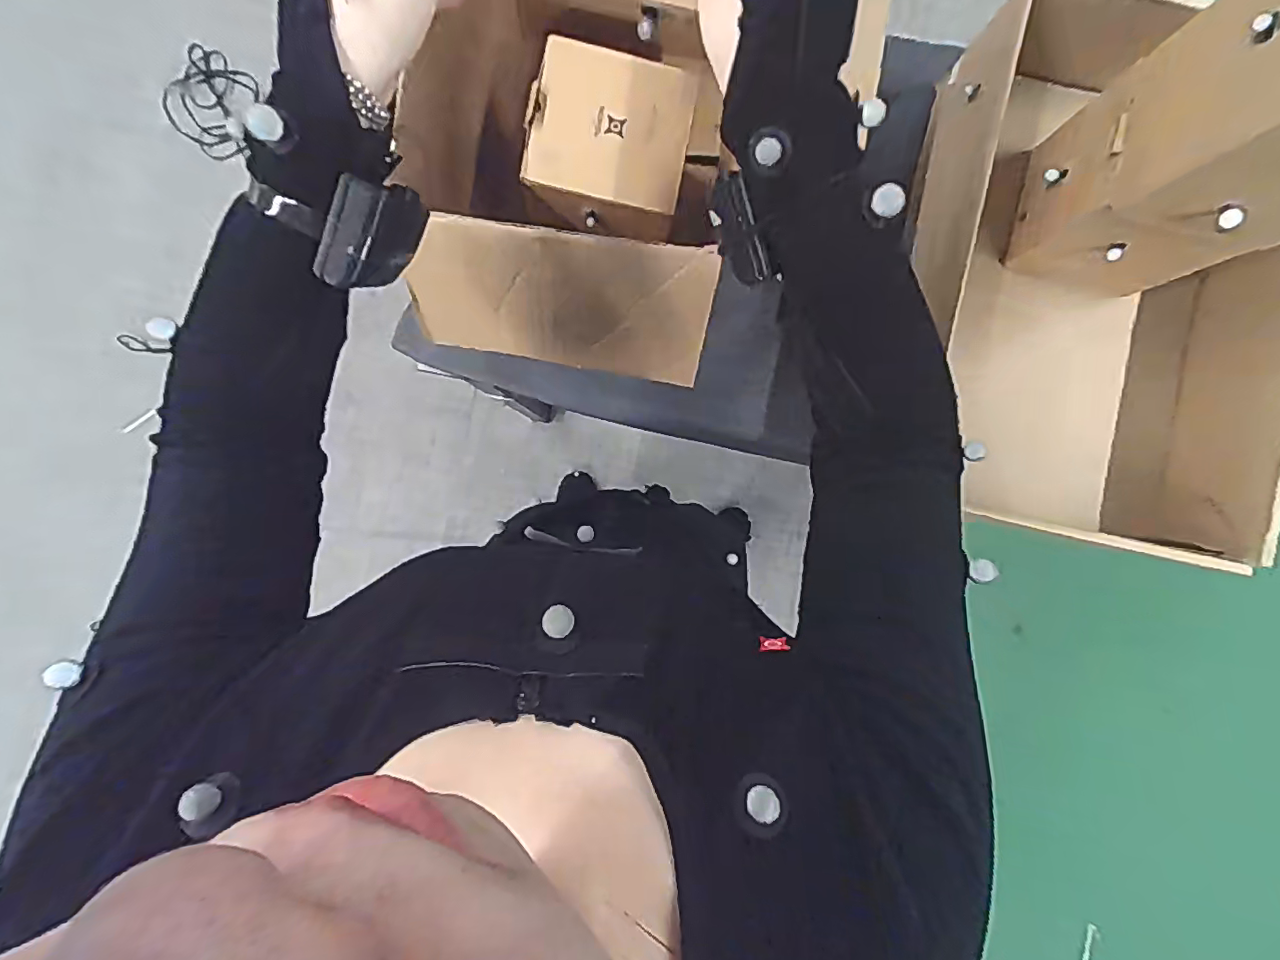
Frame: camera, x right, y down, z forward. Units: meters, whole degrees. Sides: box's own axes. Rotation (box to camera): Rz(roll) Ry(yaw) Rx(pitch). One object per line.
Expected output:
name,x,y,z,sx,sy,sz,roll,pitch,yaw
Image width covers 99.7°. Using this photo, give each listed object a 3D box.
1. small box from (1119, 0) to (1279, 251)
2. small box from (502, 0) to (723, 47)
small box,0.591,-0.339,0.486,0.168,0.176,0.179,13,91,0
small box,-0.020,-0.379,0.317,0.179,0.176,0.168,11,124,-4
